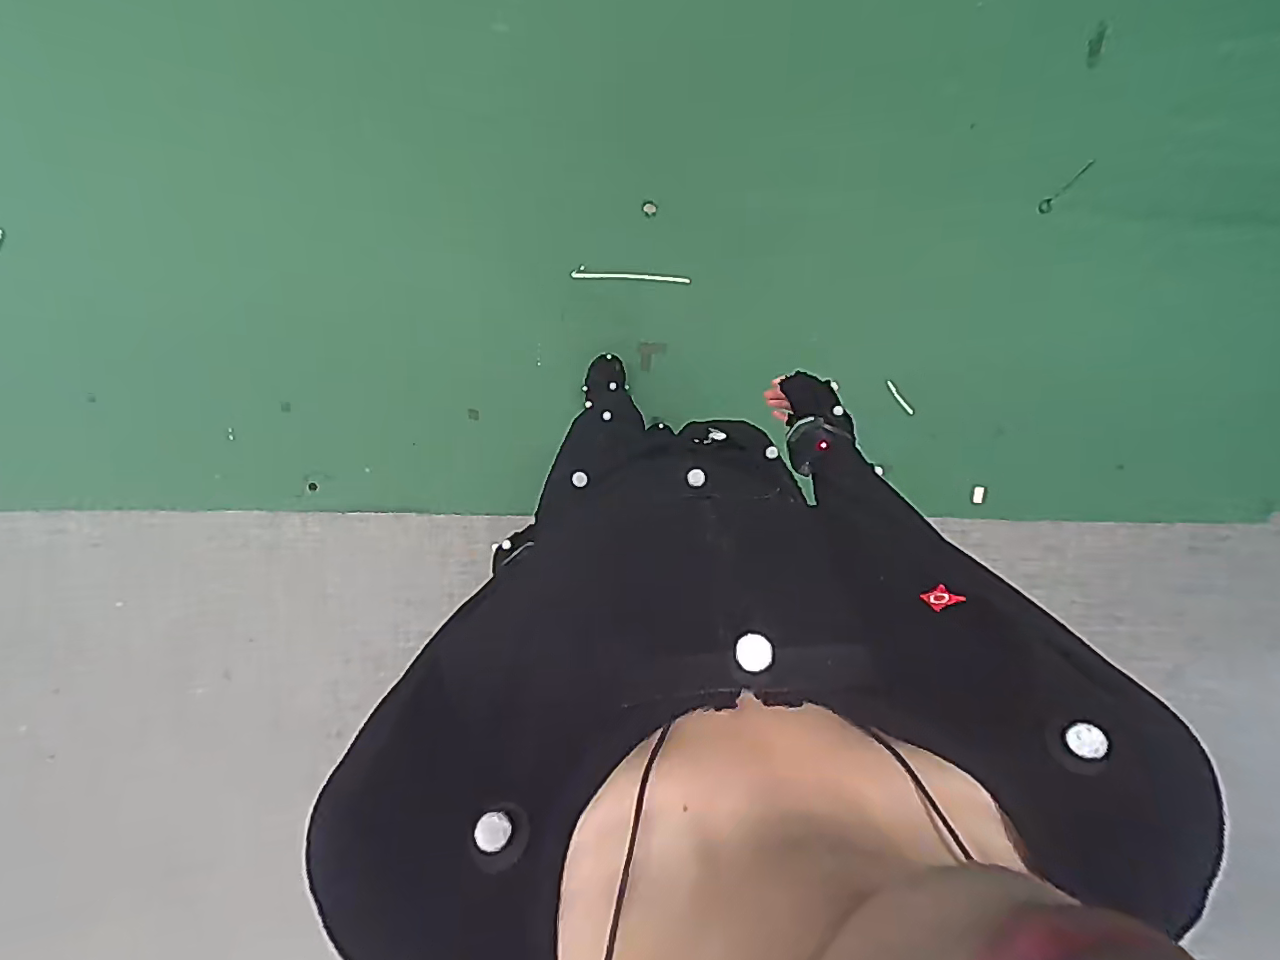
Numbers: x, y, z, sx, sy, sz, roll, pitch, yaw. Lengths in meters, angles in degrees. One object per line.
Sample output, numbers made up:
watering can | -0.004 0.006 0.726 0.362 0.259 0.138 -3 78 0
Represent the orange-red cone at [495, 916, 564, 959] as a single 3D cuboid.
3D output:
orange-red cone | -0.326 1.432 1.475 0.198 0.360 0.199 5 95 -4
